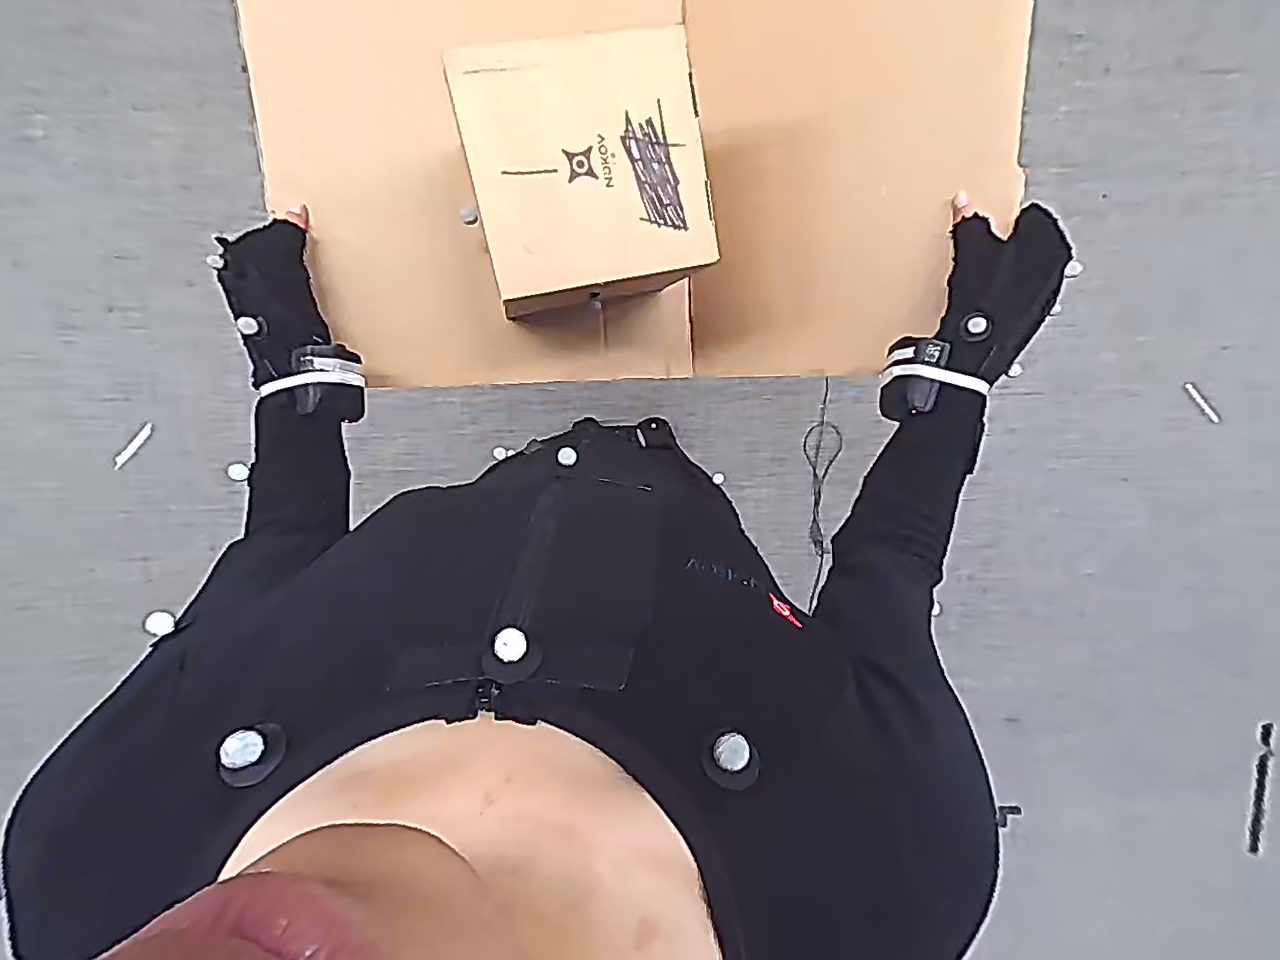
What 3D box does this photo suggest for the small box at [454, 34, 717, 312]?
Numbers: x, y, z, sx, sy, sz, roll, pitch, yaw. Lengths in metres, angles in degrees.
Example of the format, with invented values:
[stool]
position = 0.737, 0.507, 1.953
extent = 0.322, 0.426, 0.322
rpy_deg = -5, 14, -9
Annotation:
[small box]
position = -0.051, -0.252, 0.482
extent = 0.179, 0.176, 0.168
rpy_deg = -14, 105, -9
